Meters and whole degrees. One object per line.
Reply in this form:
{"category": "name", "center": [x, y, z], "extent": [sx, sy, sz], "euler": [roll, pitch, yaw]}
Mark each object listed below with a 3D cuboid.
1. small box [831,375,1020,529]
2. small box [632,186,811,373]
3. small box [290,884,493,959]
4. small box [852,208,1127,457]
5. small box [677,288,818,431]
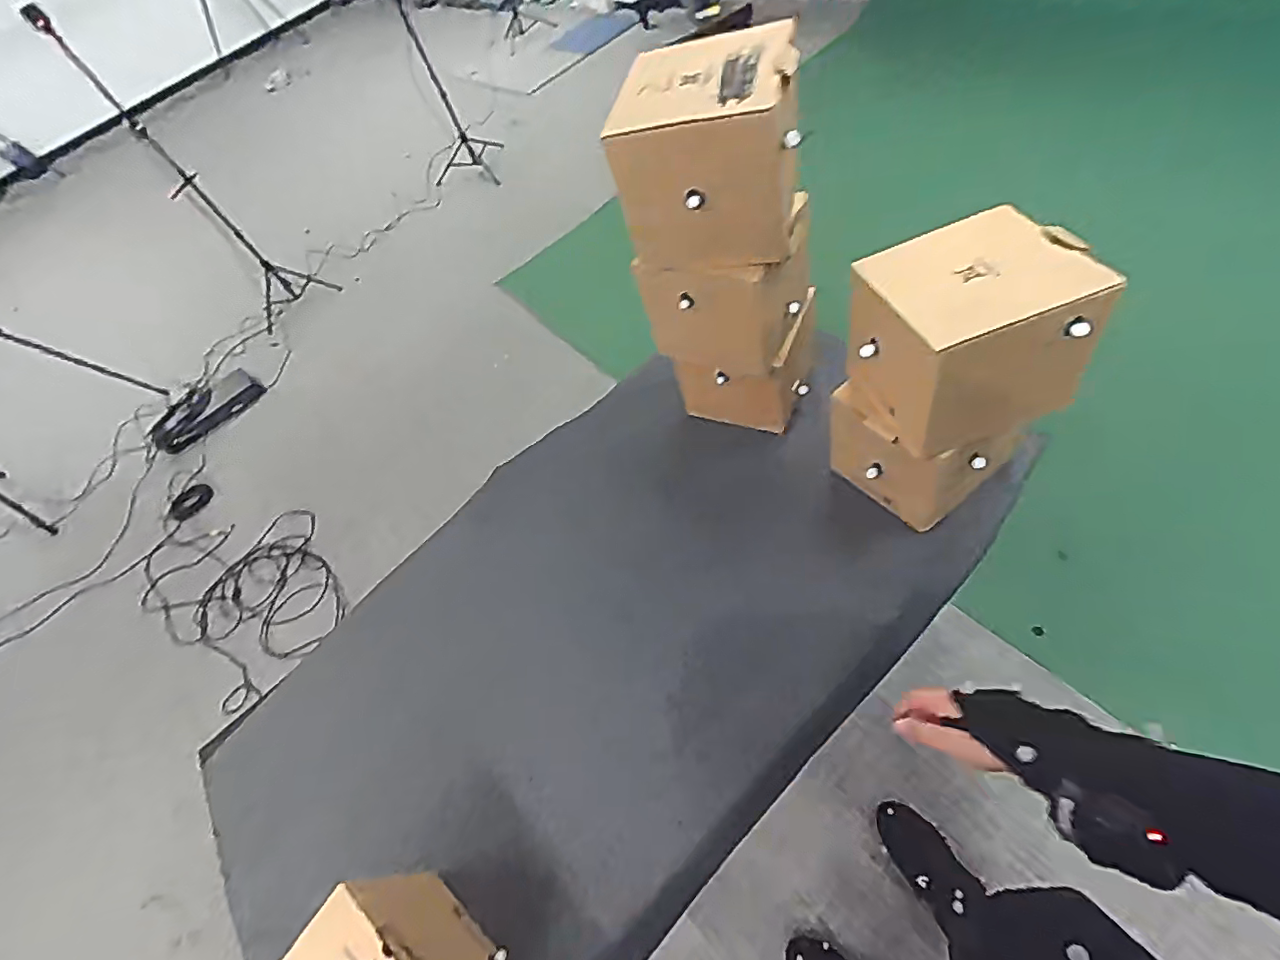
{"category": "small box", "center": [0.383, -0.066, 0.725], "extent": [0.179, 0.176, 0.168], "euler": [-38, 52, -9]}
{"category": "small box", "center": [0.120, -0.270, 0.739], "extent": [0.179, 0.176, 0.168], "euler": [20, 69, 27]}
{"category": "small box", "center": [-0.253, 0.533, 0.522], "extent": [0.168, 0.176, 0.179], "euler": [27, 69, 29]}
{"category": "small box", "center": [0.351, -0.152, 0.588], "extent": [0.179, 0.176, 0.168], "euler": [-20, 51, 4]}
{"category": "small box", "center": [0.176, -0.200, 0.879], "extent": [0.179, 0.176, 0.168], "euler": [16, 66, 24]}
